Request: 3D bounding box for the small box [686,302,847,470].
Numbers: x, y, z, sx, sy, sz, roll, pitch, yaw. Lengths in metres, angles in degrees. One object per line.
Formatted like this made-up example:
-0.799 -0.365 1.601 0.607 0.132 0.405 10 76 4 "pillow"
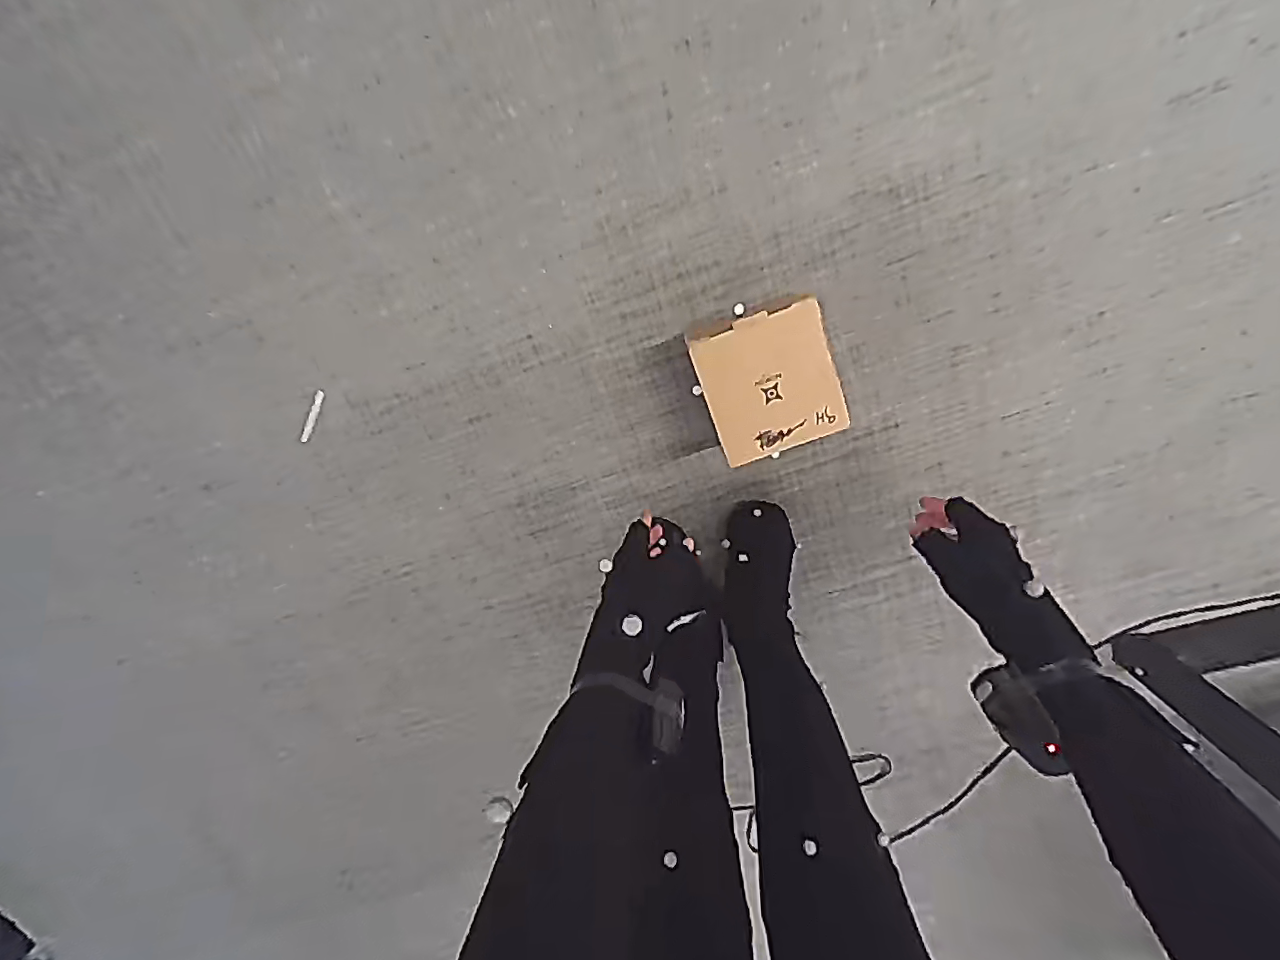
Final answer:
0.168 -0.138 0.764 0.168 0.176 0.179 -19 107 9 "small box"
